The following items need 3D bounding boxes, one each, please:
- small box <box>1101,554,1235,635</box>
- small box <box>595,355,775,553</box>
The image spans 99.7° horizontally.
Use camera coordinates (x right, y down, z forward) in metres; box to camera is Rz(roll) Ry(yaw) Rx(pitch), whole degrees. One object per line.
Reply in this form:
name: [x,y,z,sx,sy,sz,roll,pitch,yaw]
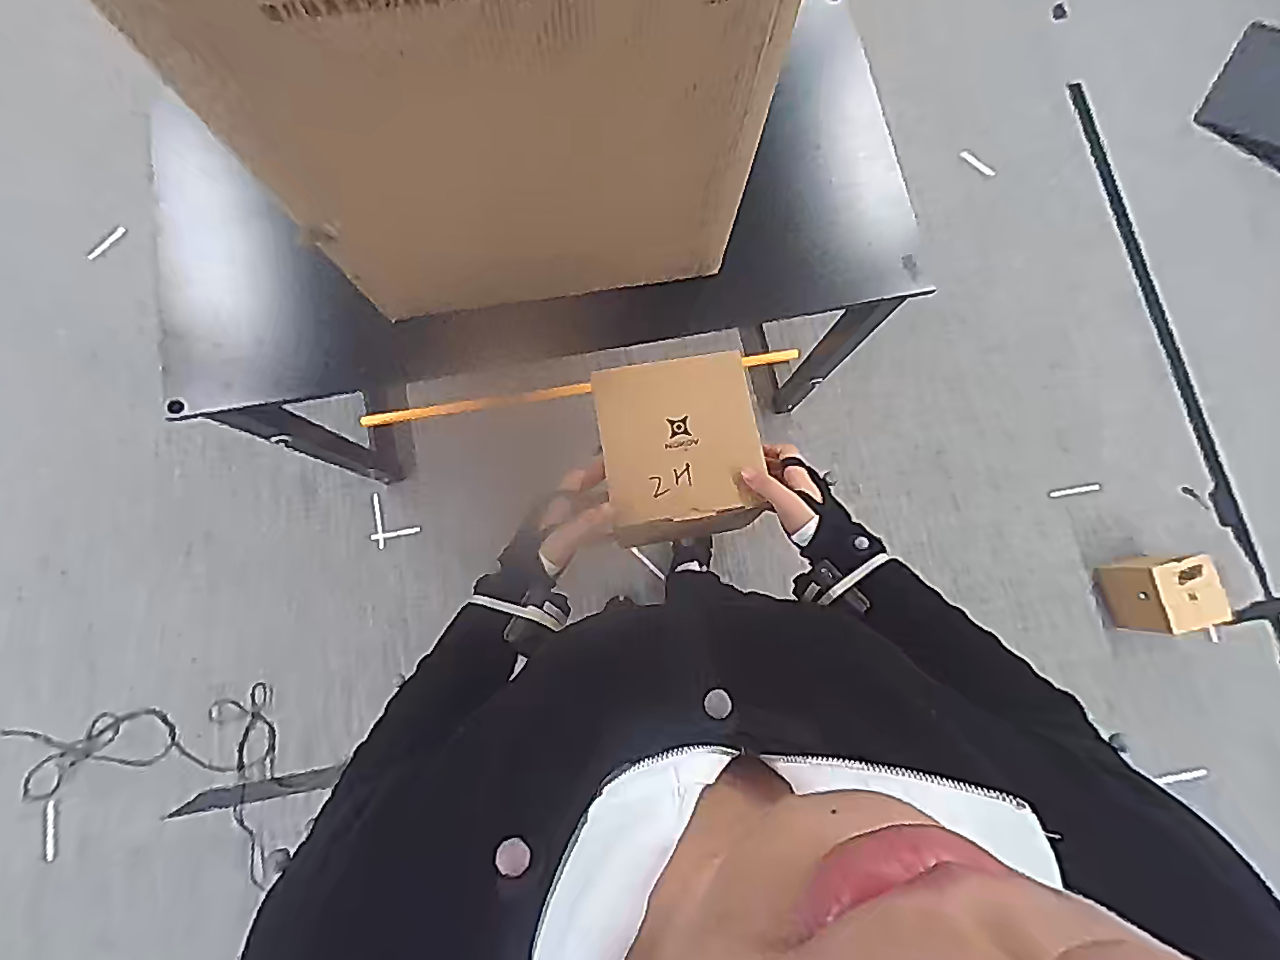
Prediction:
small box: [1.398,0.303,1.447,0.168,0.176,0.179,-13,82,-3]
small box: [0.042,-0.021,0.634,0.168,0.176,0.179,-9,75,-2]
